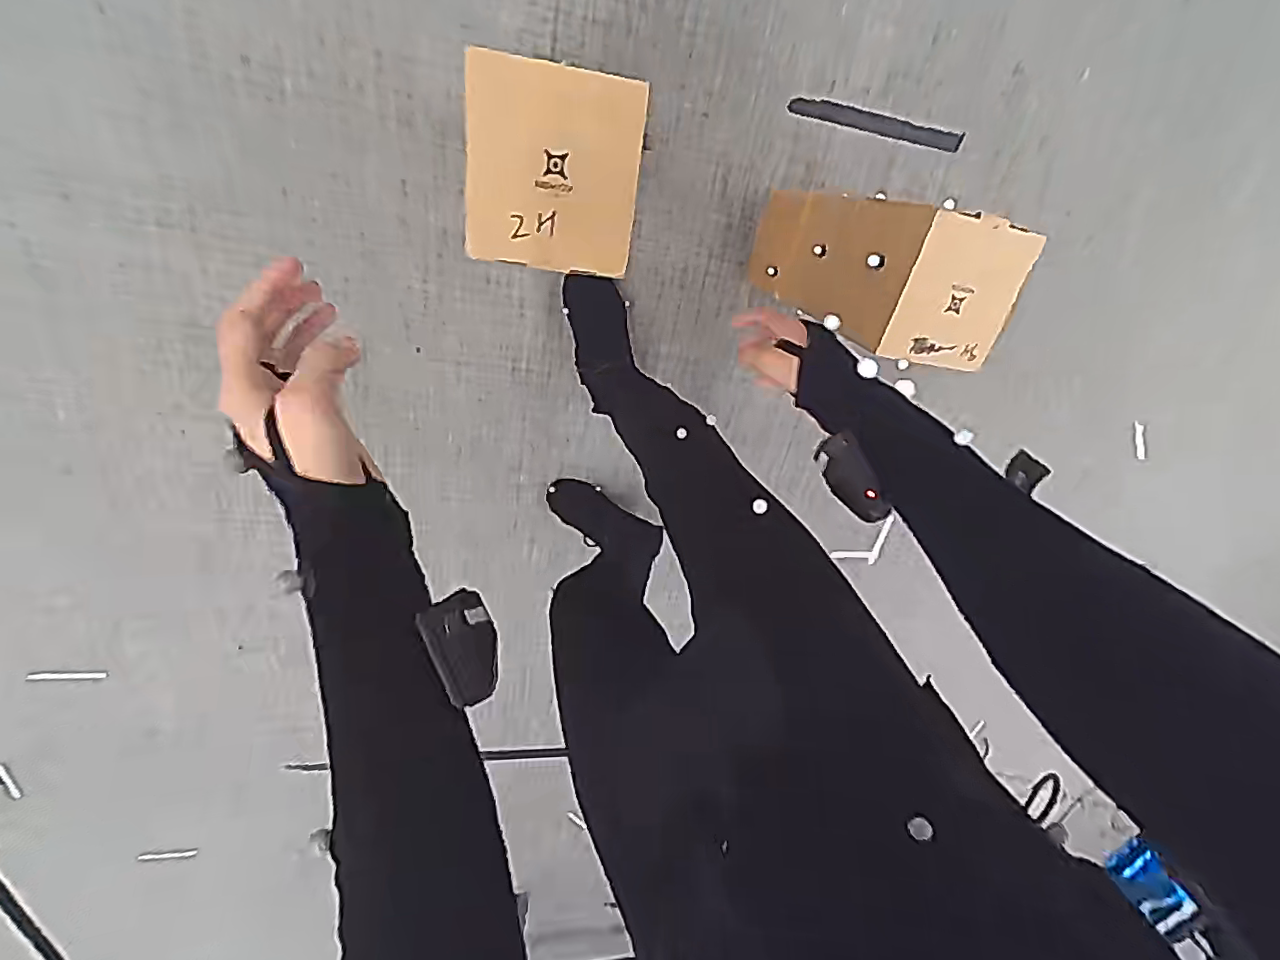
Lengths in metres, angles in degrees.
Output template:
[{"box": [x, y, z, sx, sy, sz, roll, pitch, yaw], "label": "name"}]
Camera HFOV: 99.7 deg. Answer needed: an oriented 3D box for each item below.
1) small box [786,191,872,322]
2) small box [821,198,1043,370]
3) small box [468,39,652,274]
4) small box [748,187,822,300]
[{"box": [0.358, -0.351, 0.875, 0.168, 0.176, 0.179, 5, 119, -16], "label": "small box"}, {"box": [0.375, -0.269, 0.732, 0.168, 0.176, 0.179, 6, 119, -15], "label": "small box"}, {"box": [-0.094, -0.341, 0.590, 0.168, 0.176, 0.179, 3, 120, -12], "label": "small box"}, {"box": [0.321, -0.434, 1.012, 0.168, 0.176, 0.179, 6, 120, -16], "label": "small box"}]
